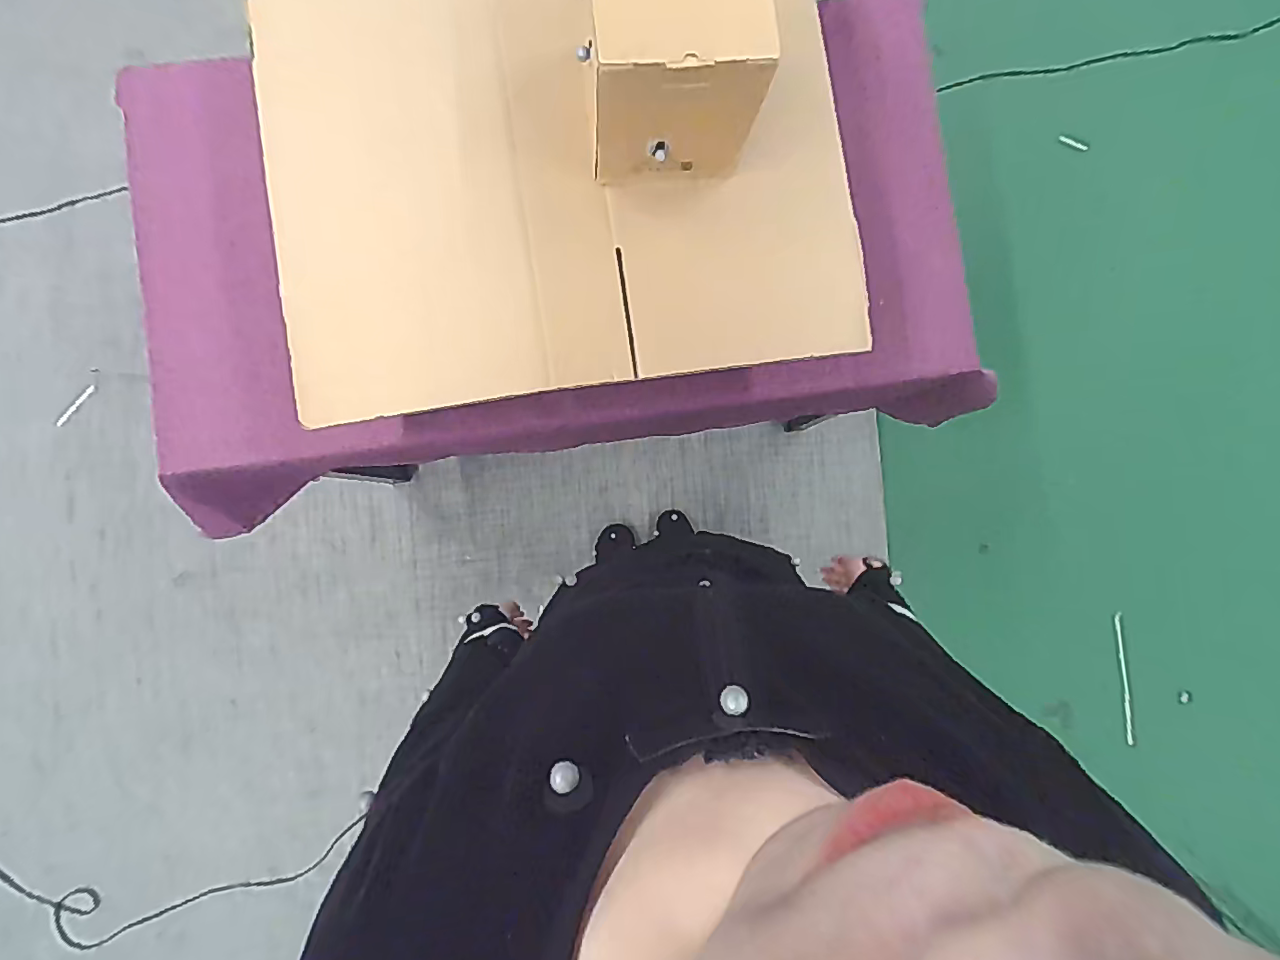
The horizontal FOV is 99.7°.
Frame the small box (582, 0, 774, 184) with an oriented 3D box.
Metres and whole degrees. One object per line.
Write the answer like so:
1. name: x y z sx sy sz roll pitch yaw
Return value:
1. small box: 0.027 -0.444 0.566 0.168 0.176 0.179 -6 88 -5
